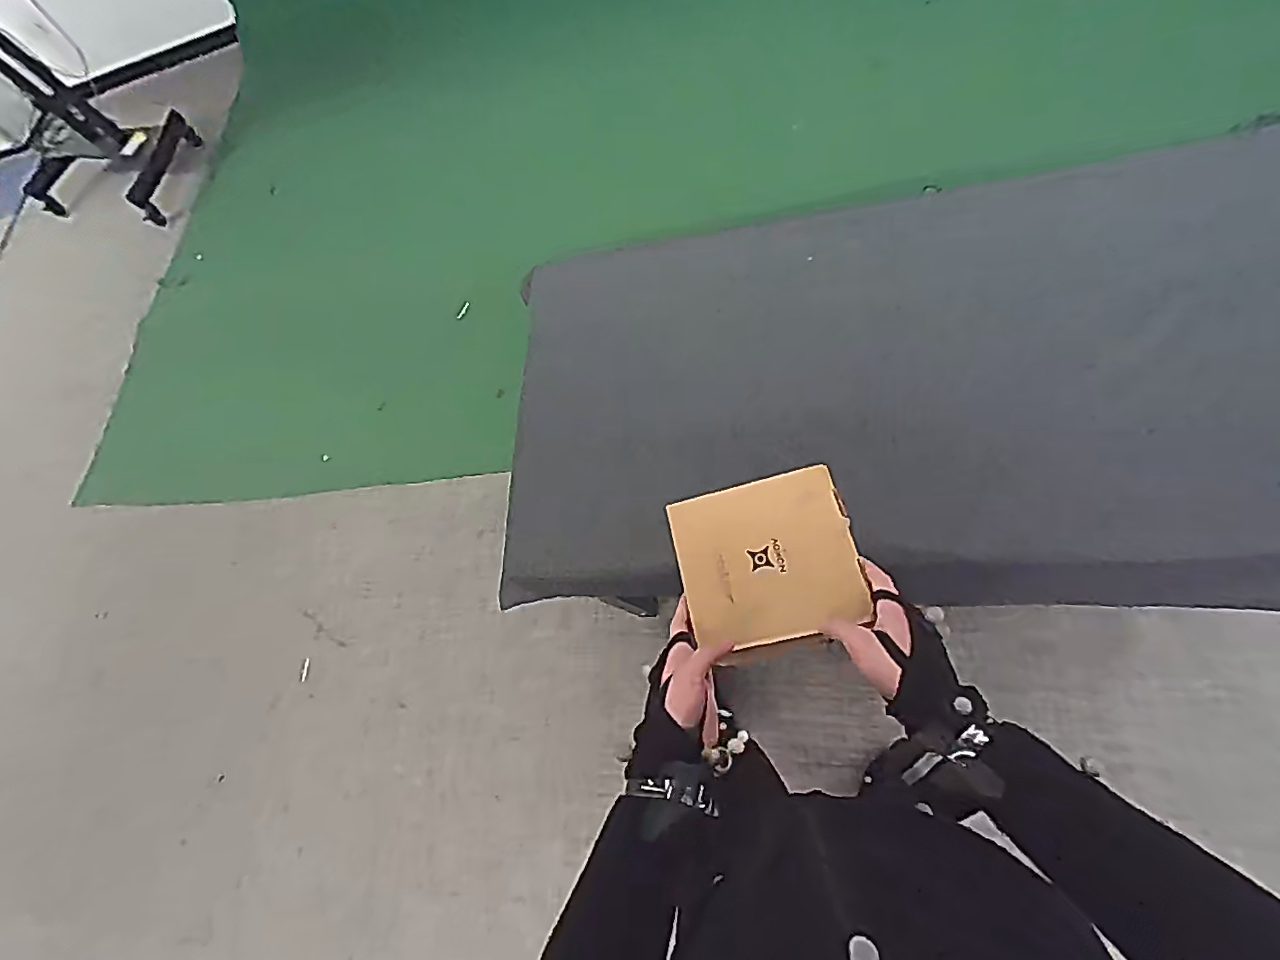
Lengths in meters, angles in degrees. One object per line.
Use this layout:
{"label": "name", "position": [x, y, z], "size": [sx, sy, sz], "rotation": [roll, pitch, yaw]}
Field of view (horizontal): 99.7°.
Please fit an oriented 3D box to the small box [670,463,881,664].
{"label": "small box", "position": [0.146, 0.104, 0.606], "size": [0.179, 0.176, 0.168], "rotation": [-14, 64, 11]}
